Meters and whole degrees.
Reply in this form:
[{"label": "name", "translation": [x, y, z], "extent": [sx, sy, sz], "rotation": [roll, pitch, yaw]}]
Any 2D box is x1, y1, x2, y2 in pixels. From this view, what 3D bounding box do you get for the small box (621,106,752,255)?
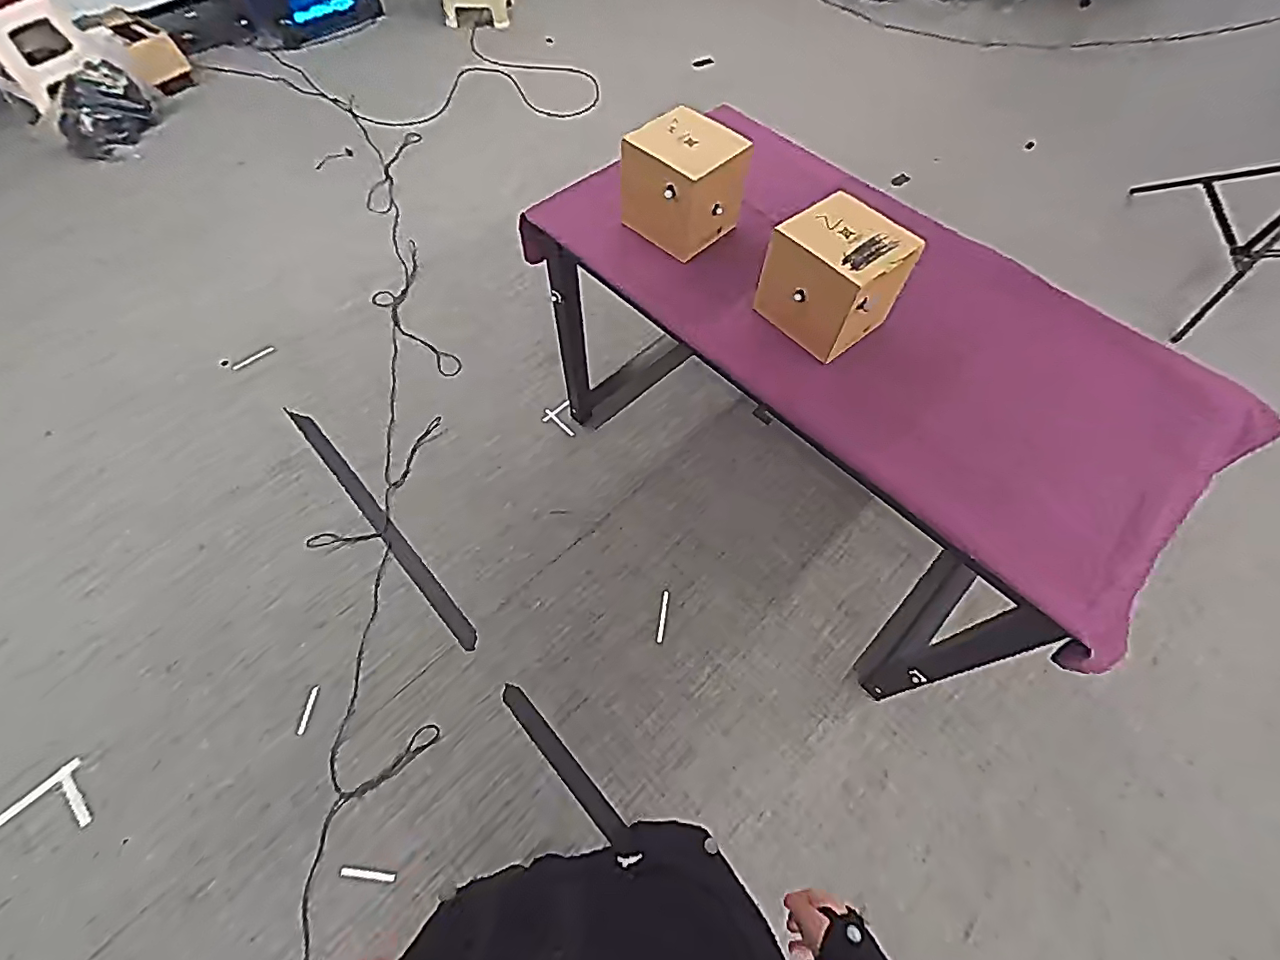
[{"label": "small box", "translation": [0.081, -0.559, 1.025], "extent": [0.179, 0.176, 0.168], "rotation": [40, 66, 19]}]
